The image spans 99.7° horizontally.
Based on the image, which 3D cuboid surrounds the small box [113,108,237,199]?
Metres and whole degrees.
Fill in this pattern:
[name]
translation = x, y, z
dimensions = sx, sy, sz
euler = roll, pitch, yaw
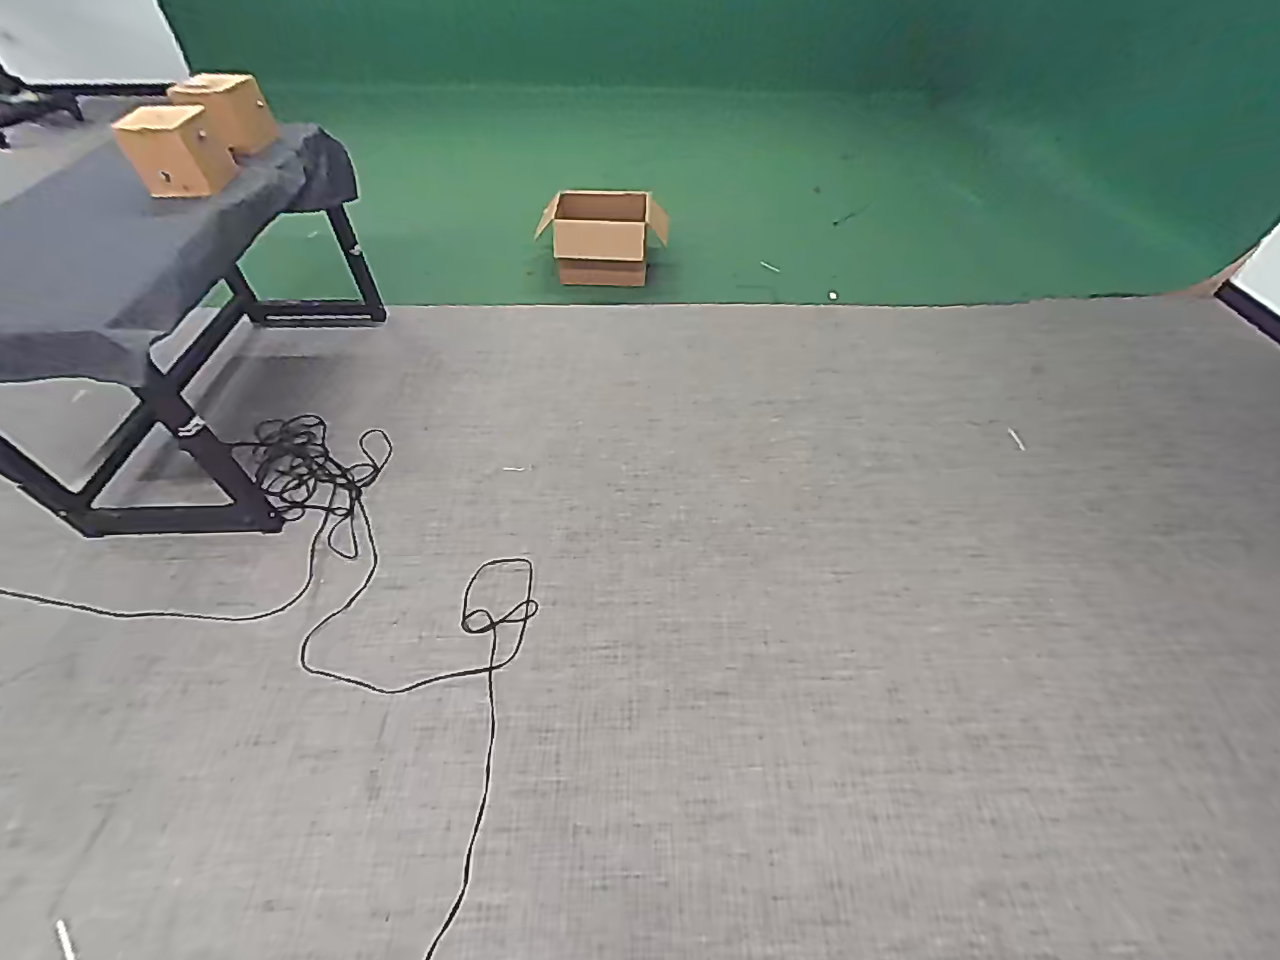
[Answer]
[small box]
translation = -1.246, -0.887, 1.469
dimensions = 0.168, 0.176, 0.179
euler = -3, 50, -3
